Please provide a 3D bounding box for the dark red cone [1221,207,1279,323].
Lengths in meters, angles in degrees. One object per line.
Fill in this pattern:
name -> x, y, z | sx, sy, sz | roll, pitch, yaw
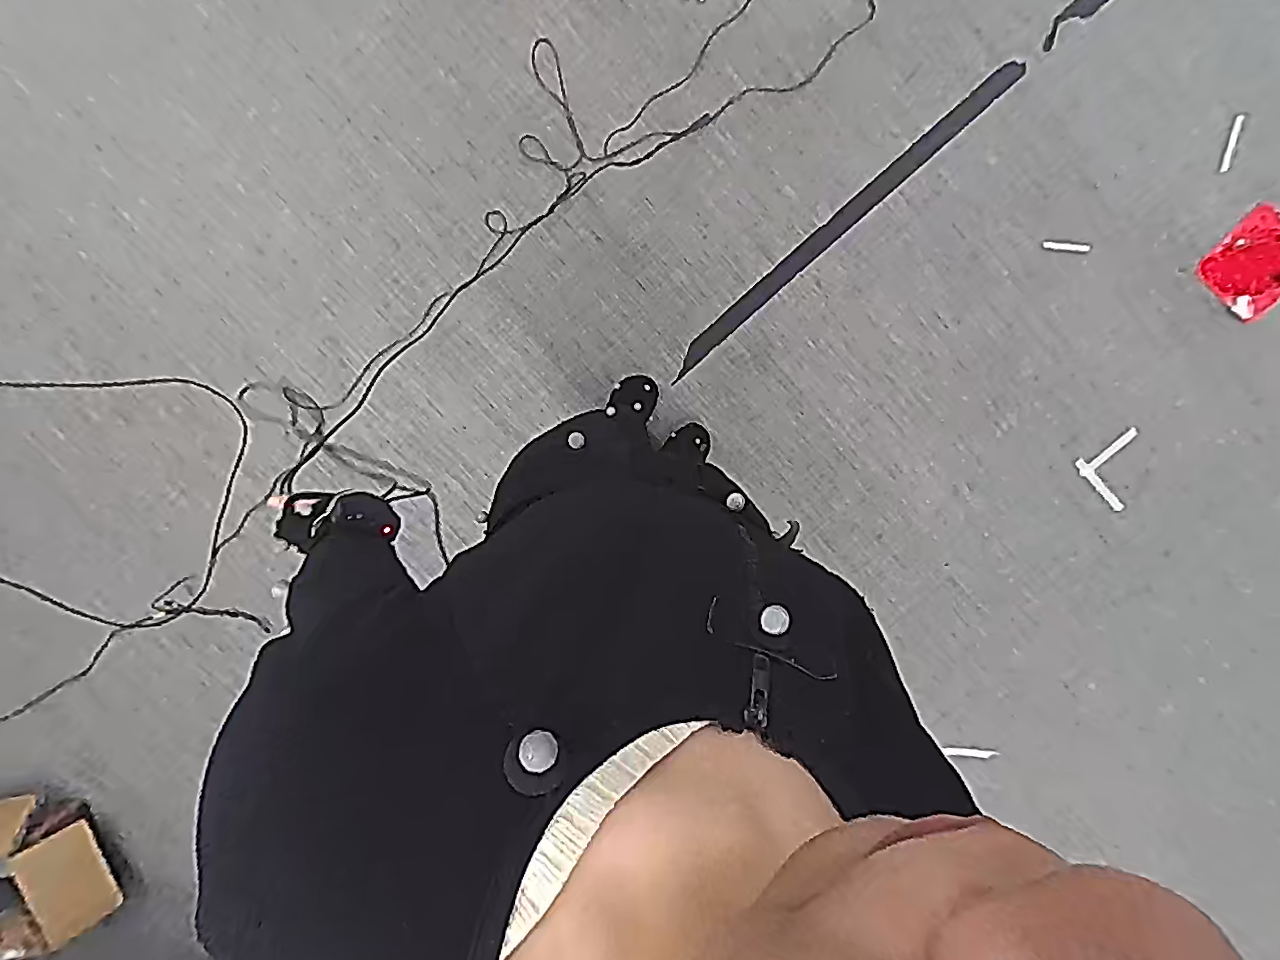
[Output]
dark red cone -> 1.408, -0.451, 1.032 | 0.201, 0.394, 0.202 | 40, 99, -4
